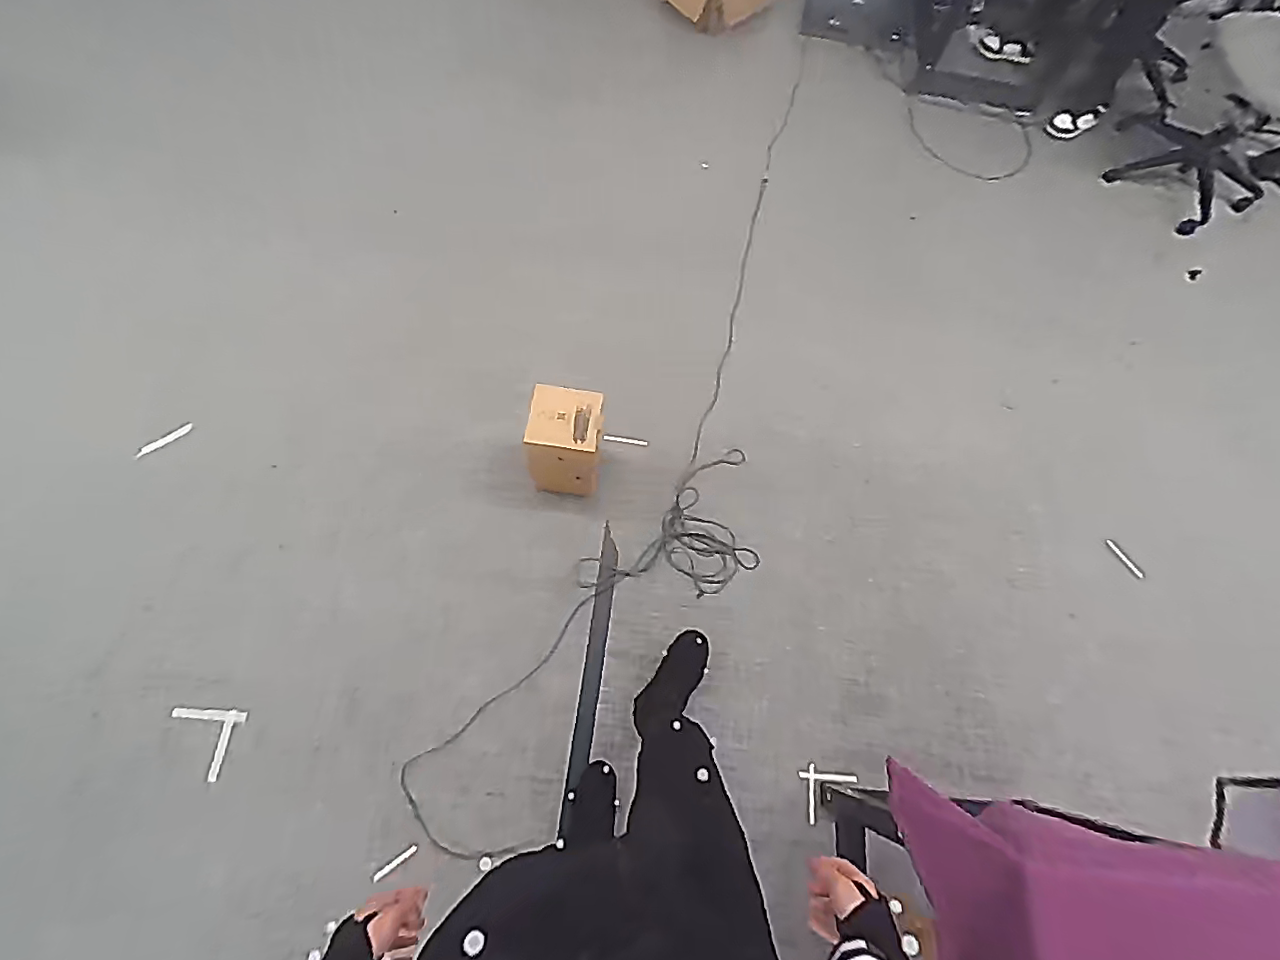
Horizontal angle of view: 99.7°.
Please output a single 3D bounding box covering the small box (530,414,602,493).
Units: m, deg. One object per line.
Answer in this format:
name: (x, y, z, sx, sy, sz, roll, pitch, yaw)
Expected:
small box: (-0.207, -0.071, 1.548, 0.179, 0.176, 0.168, 7, 69, -3)
